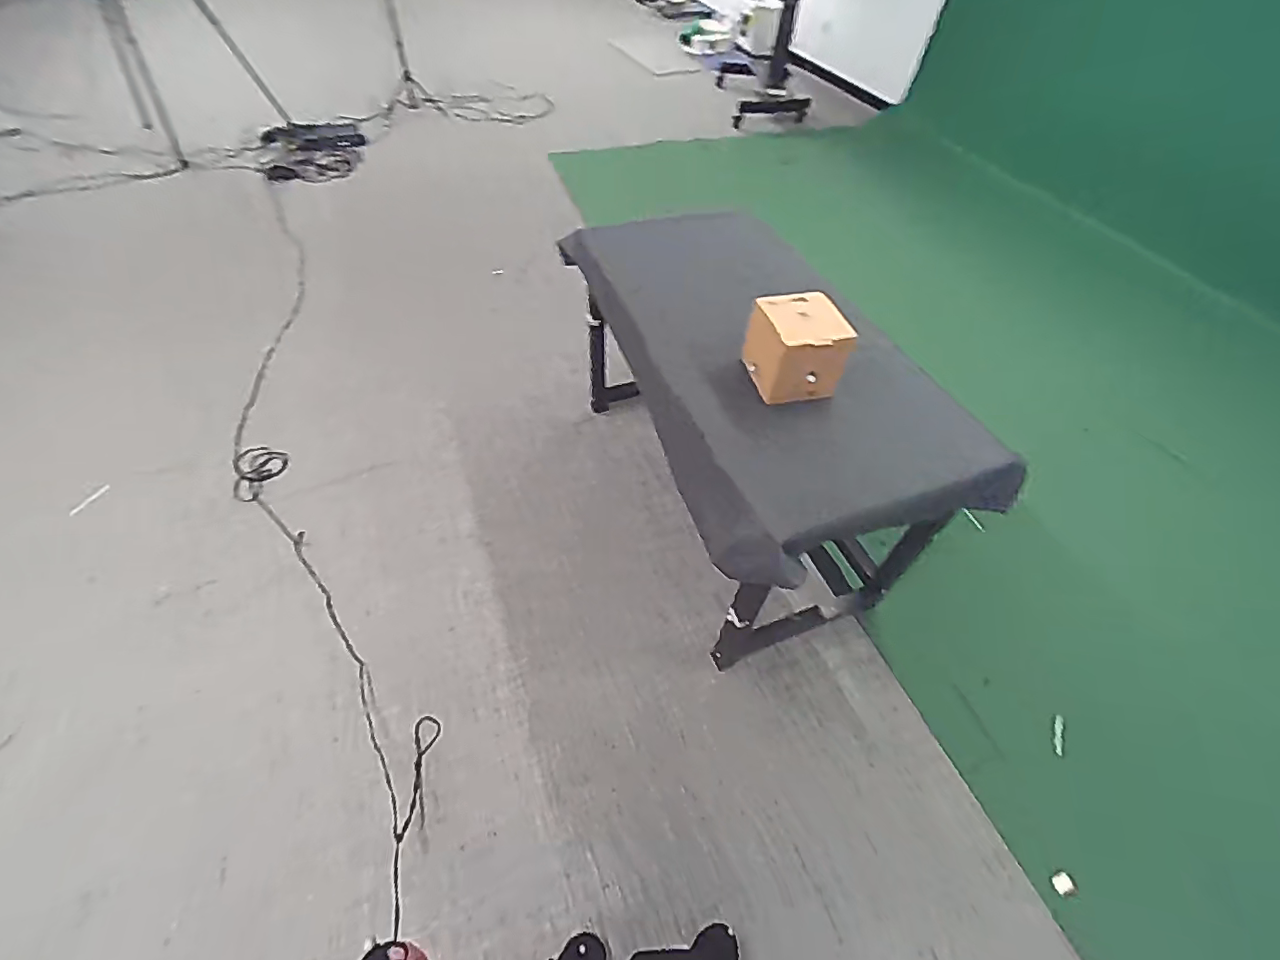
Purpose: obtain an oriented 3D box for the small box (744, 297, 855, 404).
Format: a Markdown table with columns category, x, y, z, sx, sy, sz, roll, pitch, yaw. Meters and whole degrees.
| category | x | y | z | sx | sy | sz | roll | pitch | yaw |
| --- | --- | --- | --- | --- | --- | --- | --- | --- | --- |
| small box | 0.352 | -0.287 | 1.229 | 0.168 | 0.176 | 0.179 | -8 | 53 | -10 |
